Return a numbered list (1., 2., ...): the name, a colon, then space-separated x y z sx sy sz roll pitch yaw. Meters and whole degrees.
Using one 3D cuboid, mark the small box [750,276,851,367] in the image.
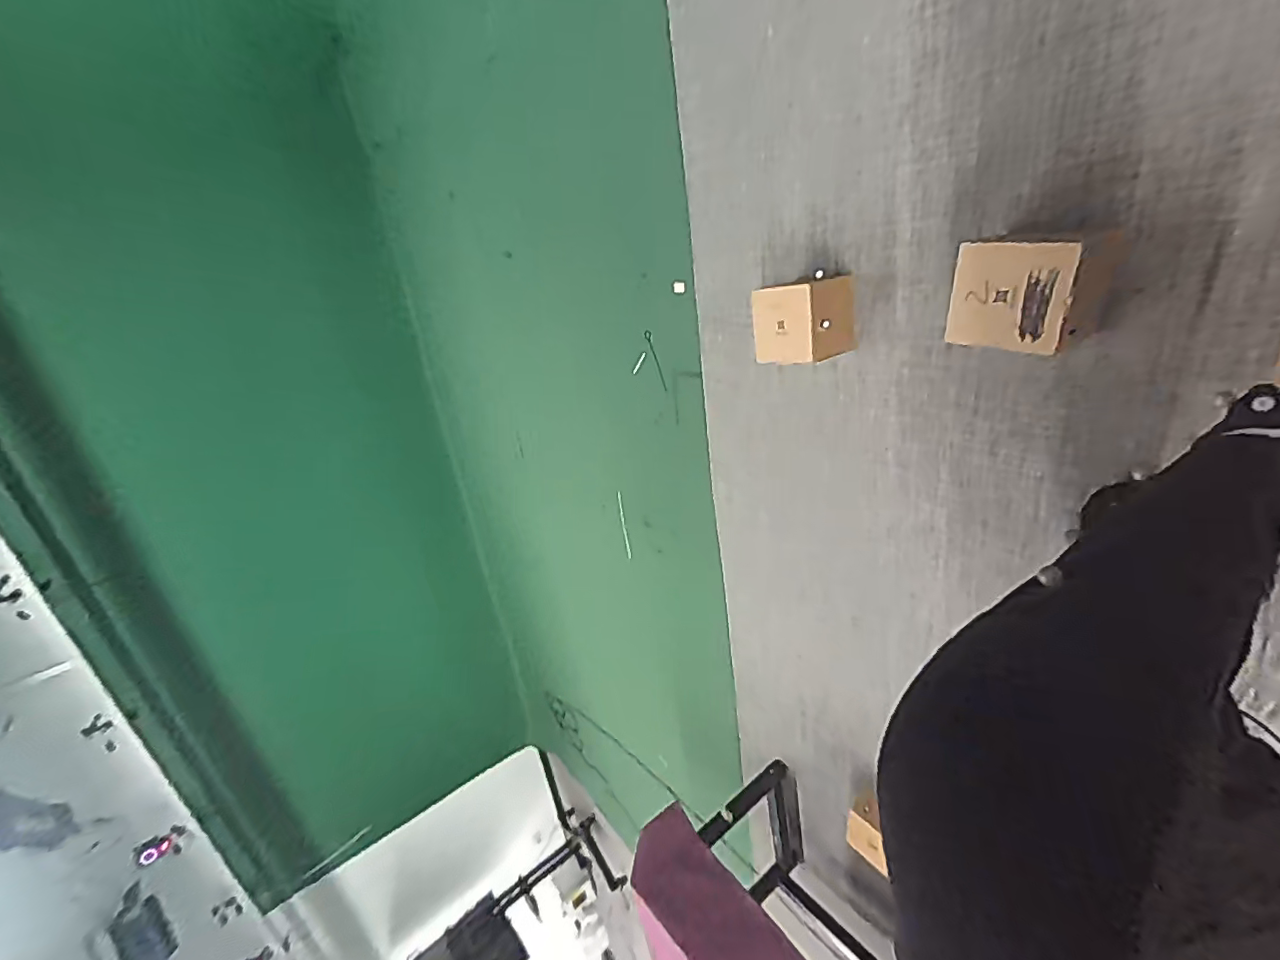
1. small box: 0.385 -0.378 1.288 0.168 0.176 0.179 18 124 50
